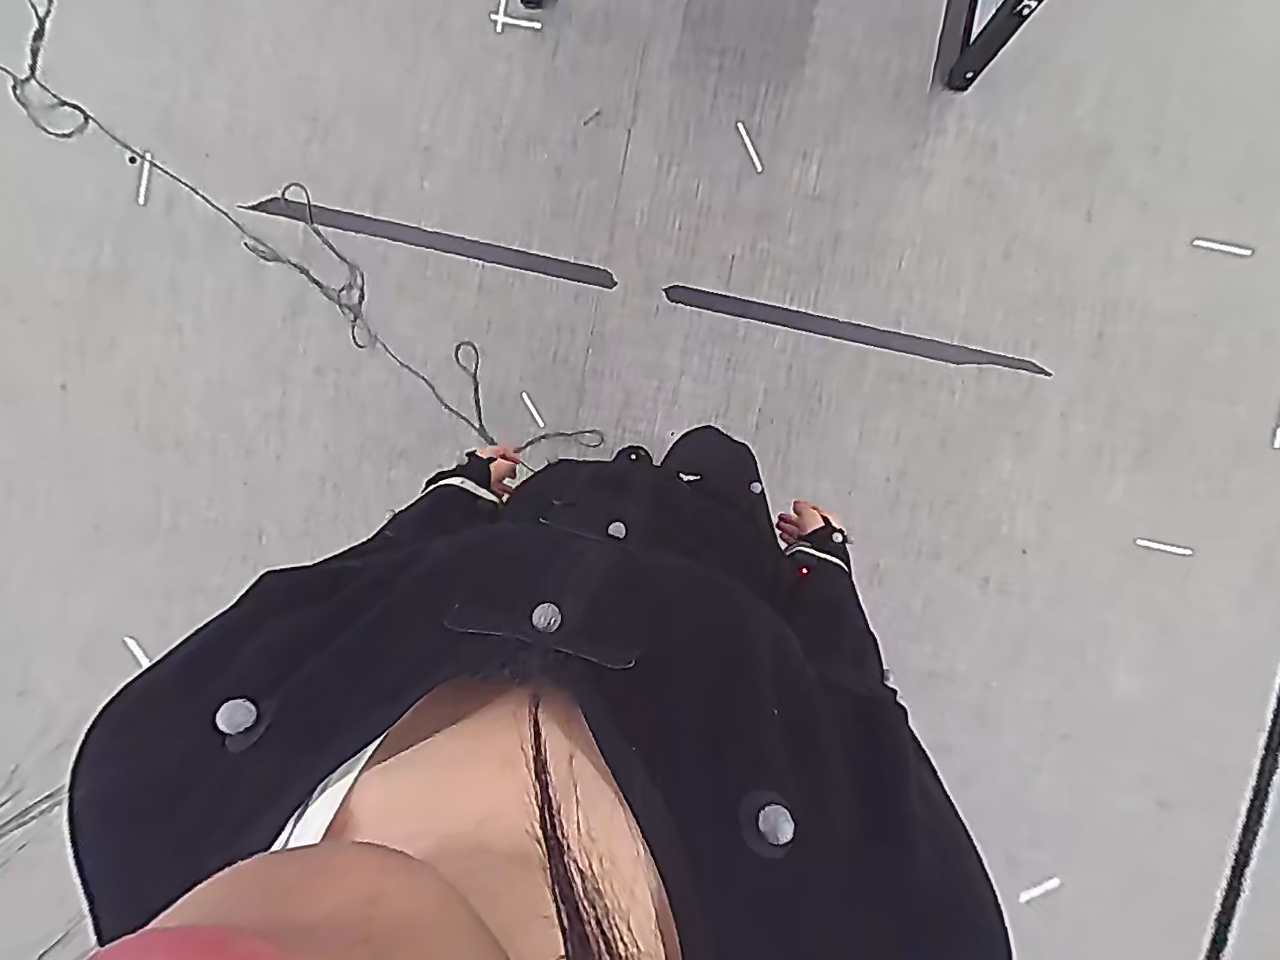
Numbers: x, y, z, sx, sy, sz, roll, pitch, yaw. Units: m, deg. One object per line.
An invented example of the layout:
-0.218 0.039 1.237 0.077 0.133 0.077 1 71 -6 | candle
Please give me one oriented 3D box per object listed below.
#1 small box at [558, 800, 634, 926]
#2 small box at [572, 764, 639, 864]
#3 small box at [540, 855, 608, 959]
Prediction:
-0.097 0.881 1.256 0.168 0.176 0.179 -2 93 -1 | small box
-0.088 0.869 1.420 0.168 0.176 0.179 -2 92 0 | small box
-0.165 1.139 1.435 0.168 0.176 0.179 2 92 0 | small box
